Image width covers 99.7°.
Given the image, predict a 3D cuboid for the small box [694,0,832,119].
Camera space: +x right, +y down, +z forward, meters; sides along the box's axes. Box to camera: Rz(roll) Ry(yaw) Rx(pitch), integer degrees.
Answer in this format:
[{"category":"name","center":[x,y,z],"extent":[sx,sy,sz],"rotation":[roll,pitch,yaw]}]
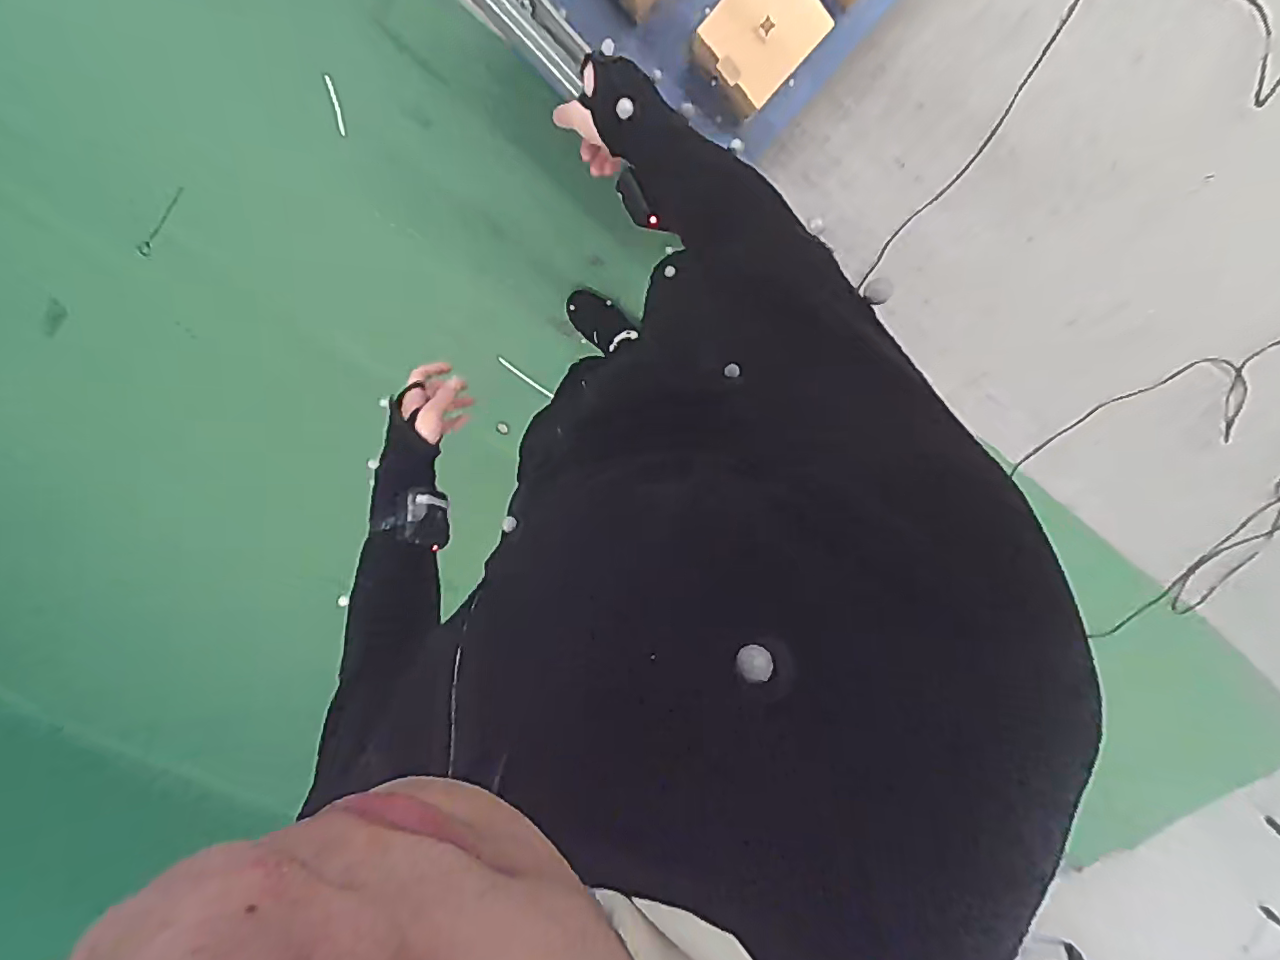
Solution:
[{"category":"small box","center":[0.214,-0.808,0.995],"extent":[0.168,0.176,0.179],"rotation":[41,112,-18]}]
